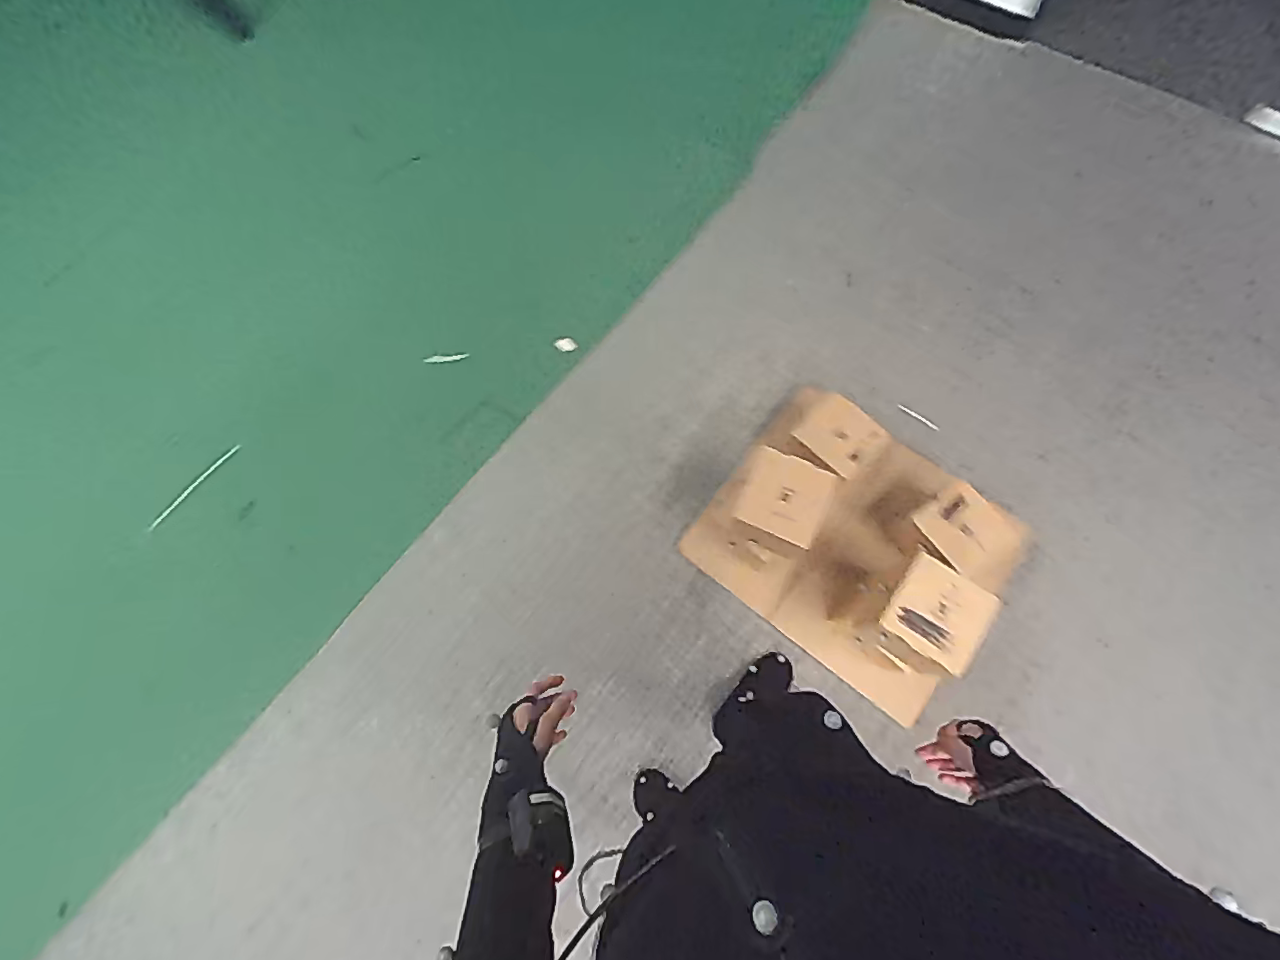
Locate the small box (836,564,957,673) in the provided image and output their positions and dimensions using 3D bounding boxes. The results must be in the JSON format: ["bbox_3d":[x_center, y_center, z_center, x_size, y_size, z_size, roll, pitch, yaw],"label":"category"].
[{"bbox_3d":[0.580,0.324,1.257,0.168,0.176,0.179,42,79,14],"label":"small box"}]

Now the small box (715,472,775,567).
[{"bbox_3d":[0.302,0.096,1.348,0.168,0.176,0.179,43,80,13],"label":"small box"}]

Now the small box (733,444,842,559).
[{"bbox_3d":[0.314,0.053,1.188,0.168,0.176,0.179,26,77,12],"label":"small box"}]

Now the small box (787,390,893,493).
[{"bbox_3d":[0.501,-0.090,1.391,0.168,0.176,0.179,-43,75,-9],"label":"small box"}]

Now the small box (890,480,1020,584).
[{"bbox_3d":[0.745,0.133,1.302,0.168,0.176,0.179,-34,75,-7],"label":"small box"}]
